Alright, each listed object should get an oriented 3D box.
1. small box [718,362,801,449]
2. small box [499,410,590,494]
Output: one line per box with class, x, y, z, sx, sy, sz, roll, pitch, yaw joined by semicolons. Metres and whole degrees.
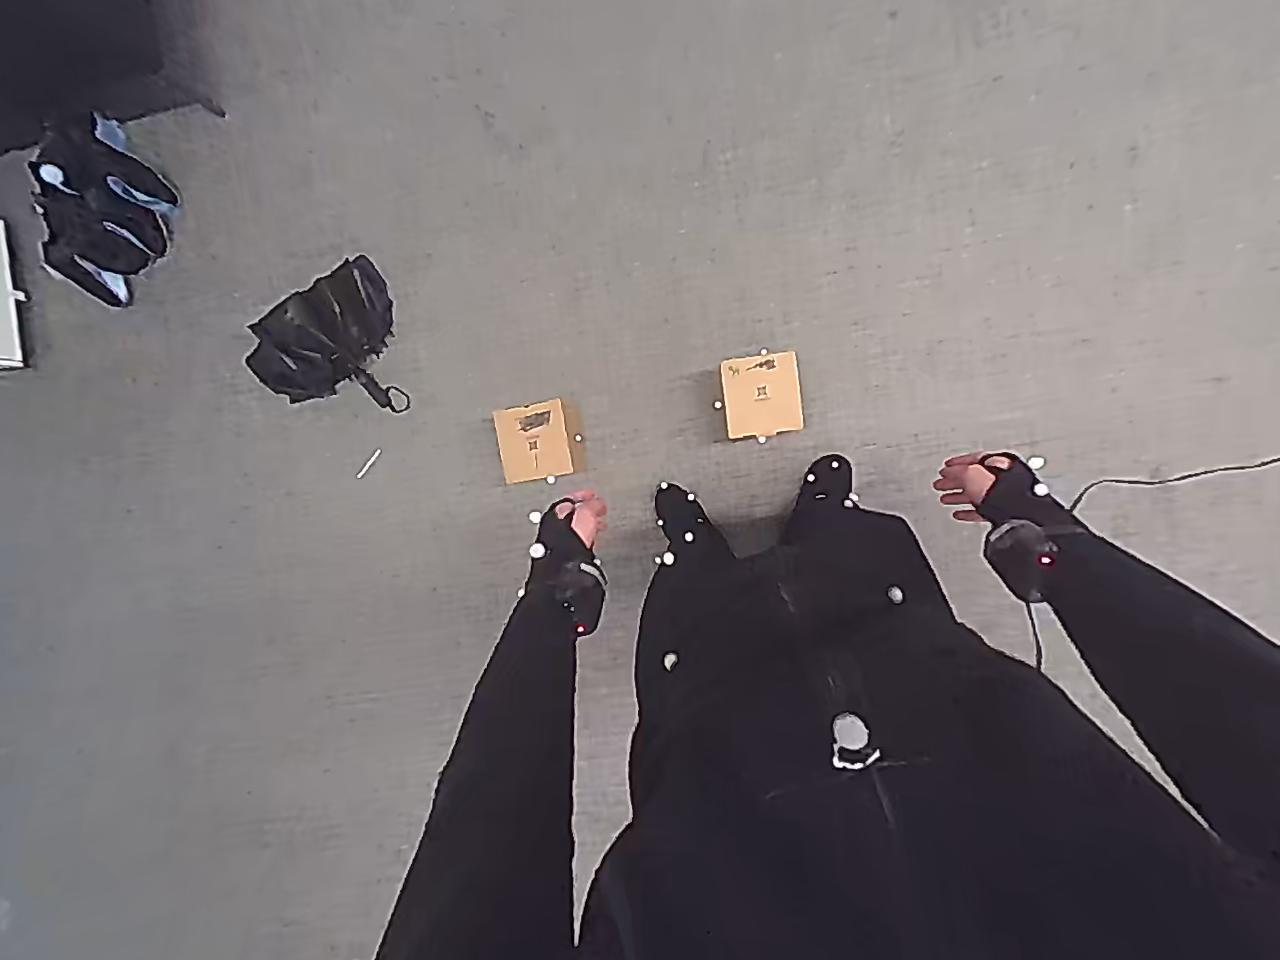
small box;0.278;-0.173;1.280;0.168;0.176;0.179;-7;93;8
small box;-0.231;-0.069;1.347;0.168;0.176;0.179;-10;94;8
